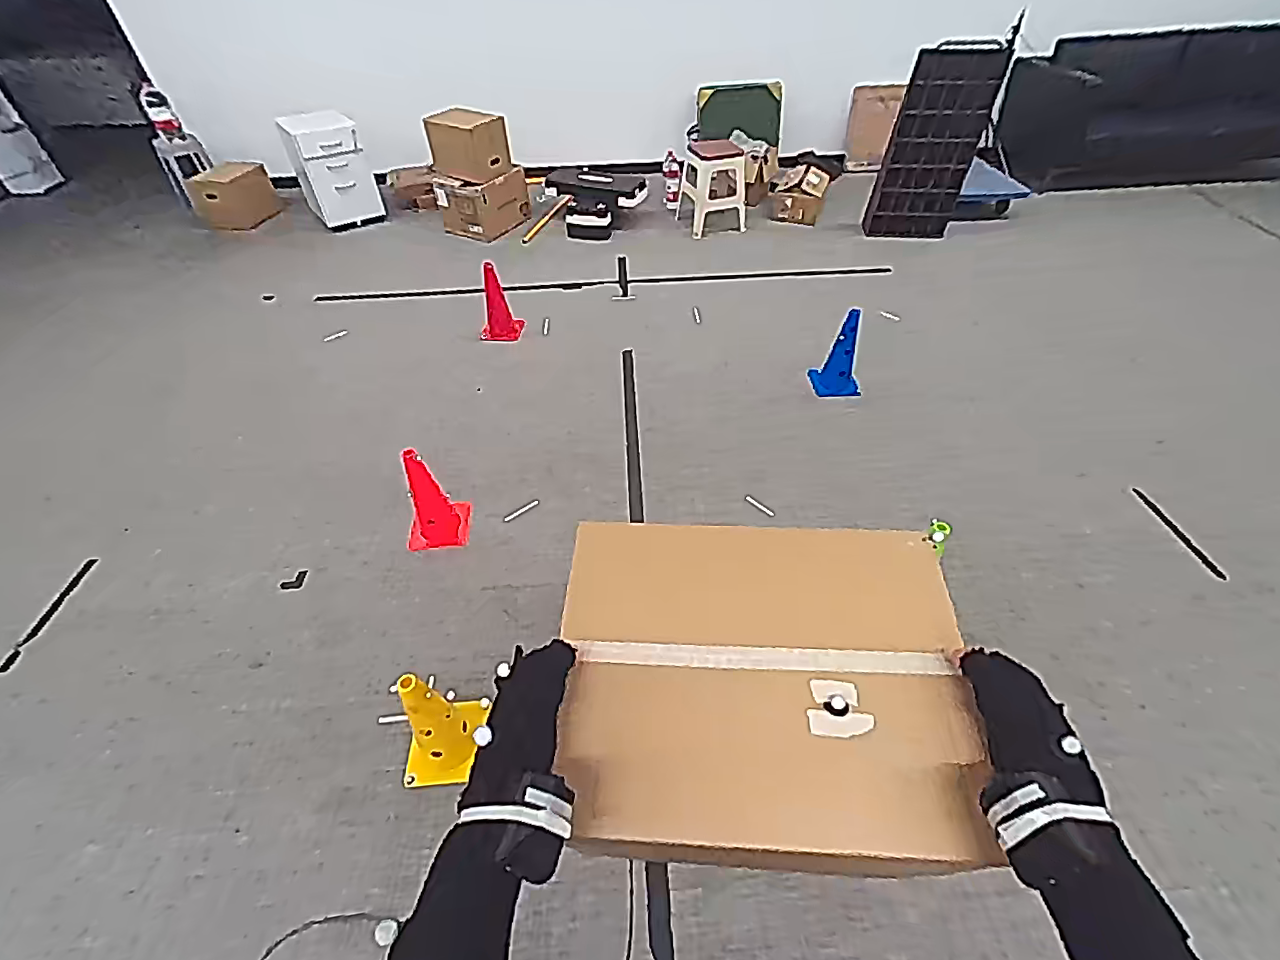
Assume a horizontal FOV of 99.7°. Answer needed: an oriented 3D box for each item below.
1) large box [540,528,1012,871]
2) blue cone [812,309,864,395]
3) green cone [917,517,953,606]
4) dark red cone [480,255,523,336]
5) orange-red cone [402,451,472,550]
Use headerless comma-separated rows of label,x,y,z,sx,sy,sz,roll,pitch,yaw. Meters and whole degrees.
large box,0.119,0.272,0.660,0.408,0.320,0.320,1,52,4
blue cone,0.887,-0.561,2.338,0.192,0.380,0.193,0,46,0
green cone,0.802,0.241,1.544,0.202,0.368,0.200,-32,54,-28
dark red cone,-0.713,-0.908,2.670,0.201,0.394,0.202,1,46,2
orange-red cone,-0.704,0.044,1.784,0.198,0.360,0.199,-6,48,-3
